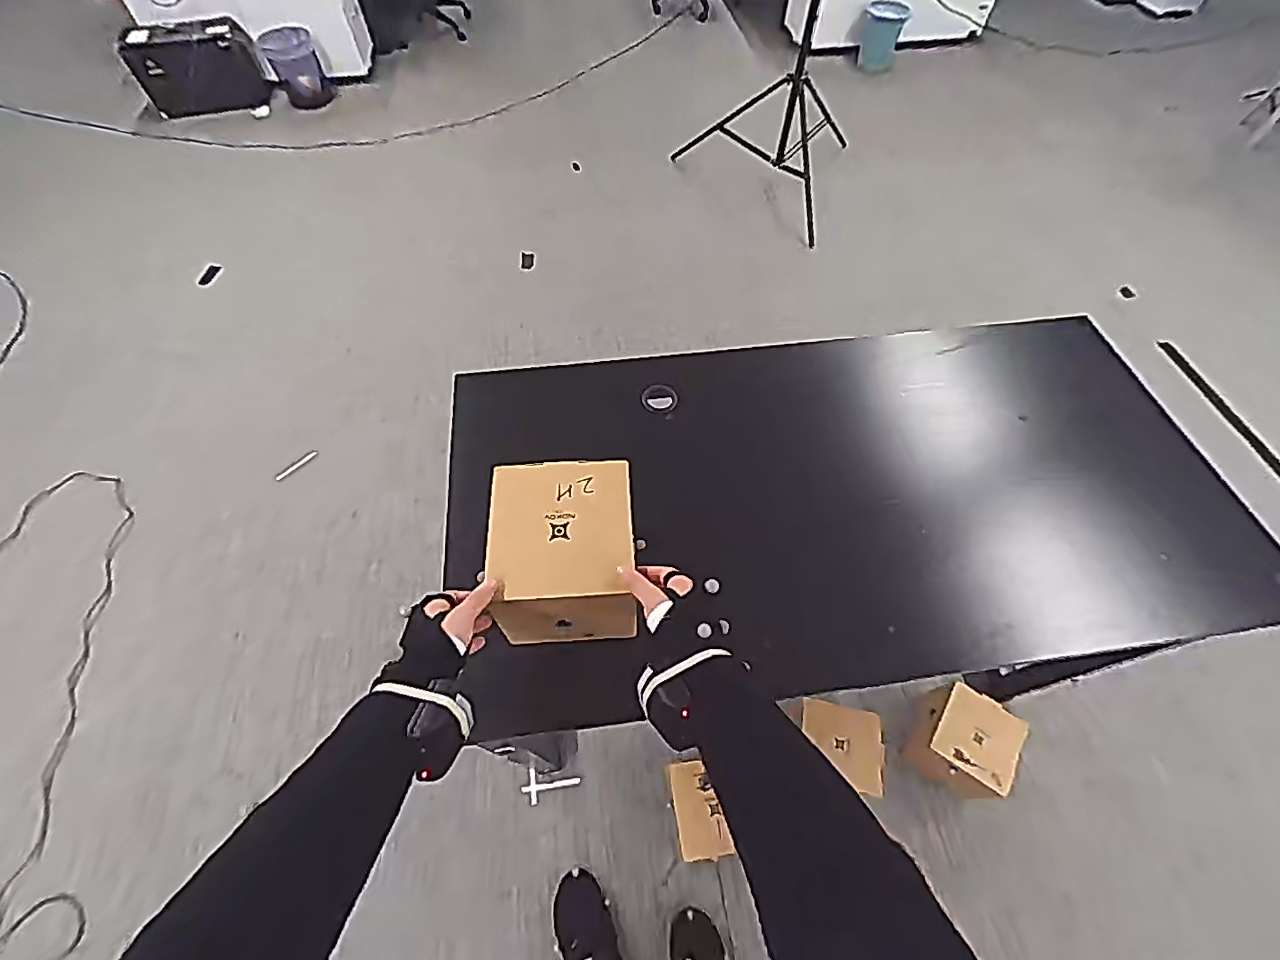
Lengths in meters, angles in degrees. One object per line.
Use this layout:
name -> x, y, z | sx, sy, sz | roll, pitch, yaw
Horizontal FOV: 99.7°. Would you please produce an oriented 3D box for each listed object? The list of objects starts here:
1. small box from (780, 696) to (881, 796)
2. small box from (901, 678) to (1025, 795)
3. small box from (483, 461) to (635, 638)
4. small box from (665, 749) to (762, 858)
small box -> 0.431, 0.611, 1.236 | 0.179, 0.176, 0.168 | 10, 58, 7
small box -> 0.734, 0.592, 1.246 | 0.168, 0.176, 0.179 | 31, 63, 18
small box -> -0.093, 0.096, 0.690 | 0.168, 0.176, 0.179 | -3, 58, -3
small box -> 0.150, 0.701, 1.177 | 0.168, 0.176, 0.179 | -8, 60, -5
